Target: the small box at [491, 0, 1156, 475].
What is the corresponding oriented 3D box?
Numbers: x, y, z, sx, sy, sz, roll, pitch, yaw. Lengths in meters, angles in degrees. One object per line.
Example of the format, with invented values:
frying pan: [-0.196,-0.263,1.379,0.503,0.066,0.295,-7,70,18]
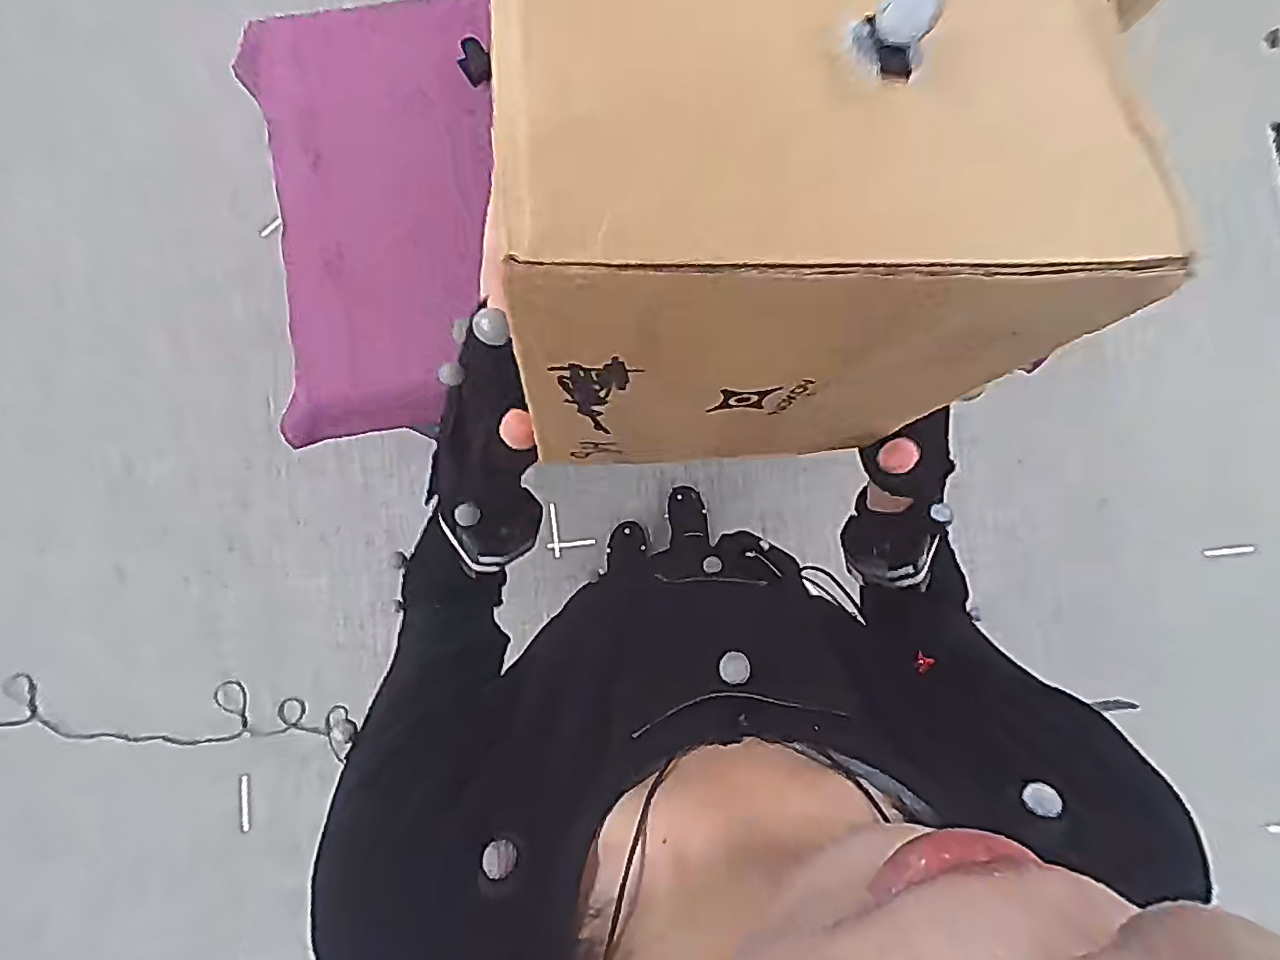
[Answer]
small box: [0.037,-0.108,0.226,0.179,0.168,0.176,-4,75,-8]
